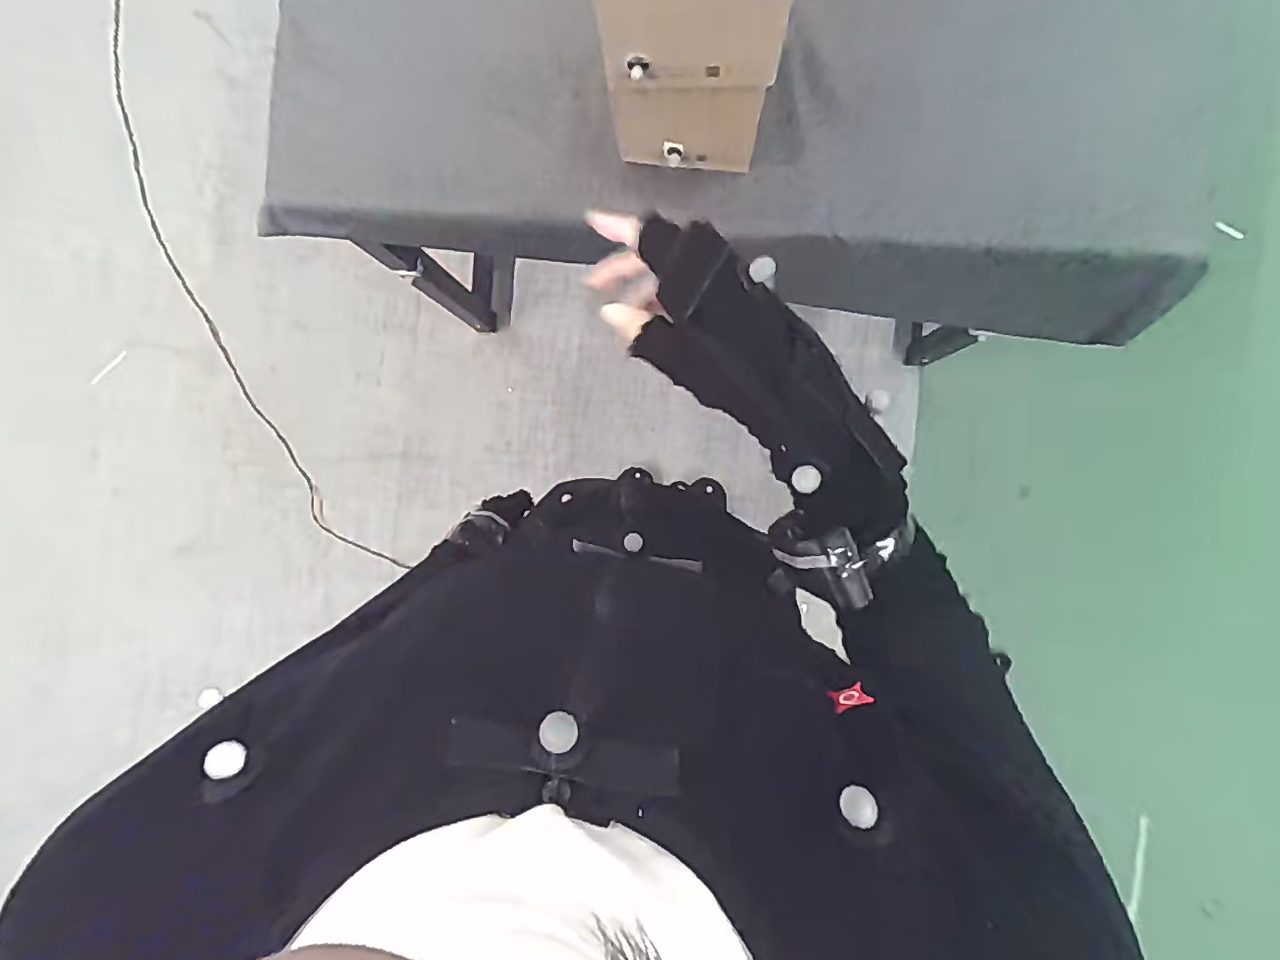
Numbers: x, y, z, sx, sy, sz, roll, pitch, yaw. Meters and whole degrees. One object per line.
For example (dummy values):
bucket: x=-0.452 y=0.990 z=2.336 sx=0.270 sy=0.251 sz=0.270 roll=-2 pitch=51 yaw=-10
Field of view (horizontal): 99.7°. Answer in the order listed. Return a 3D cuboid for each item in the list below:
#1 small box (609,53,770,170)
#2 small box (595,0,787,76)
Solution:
small box: x=0.064 y=-0.495 z=0.623 sx=0.168 sy=0.176 sz=0.179 roll=7 pitch=92 yaw=5
small box: x=0.045 y=-0.483 z=0.461 sx=0.168 sy=0.176 sz=0.179 roll=0 pitch=91 yaw=6
